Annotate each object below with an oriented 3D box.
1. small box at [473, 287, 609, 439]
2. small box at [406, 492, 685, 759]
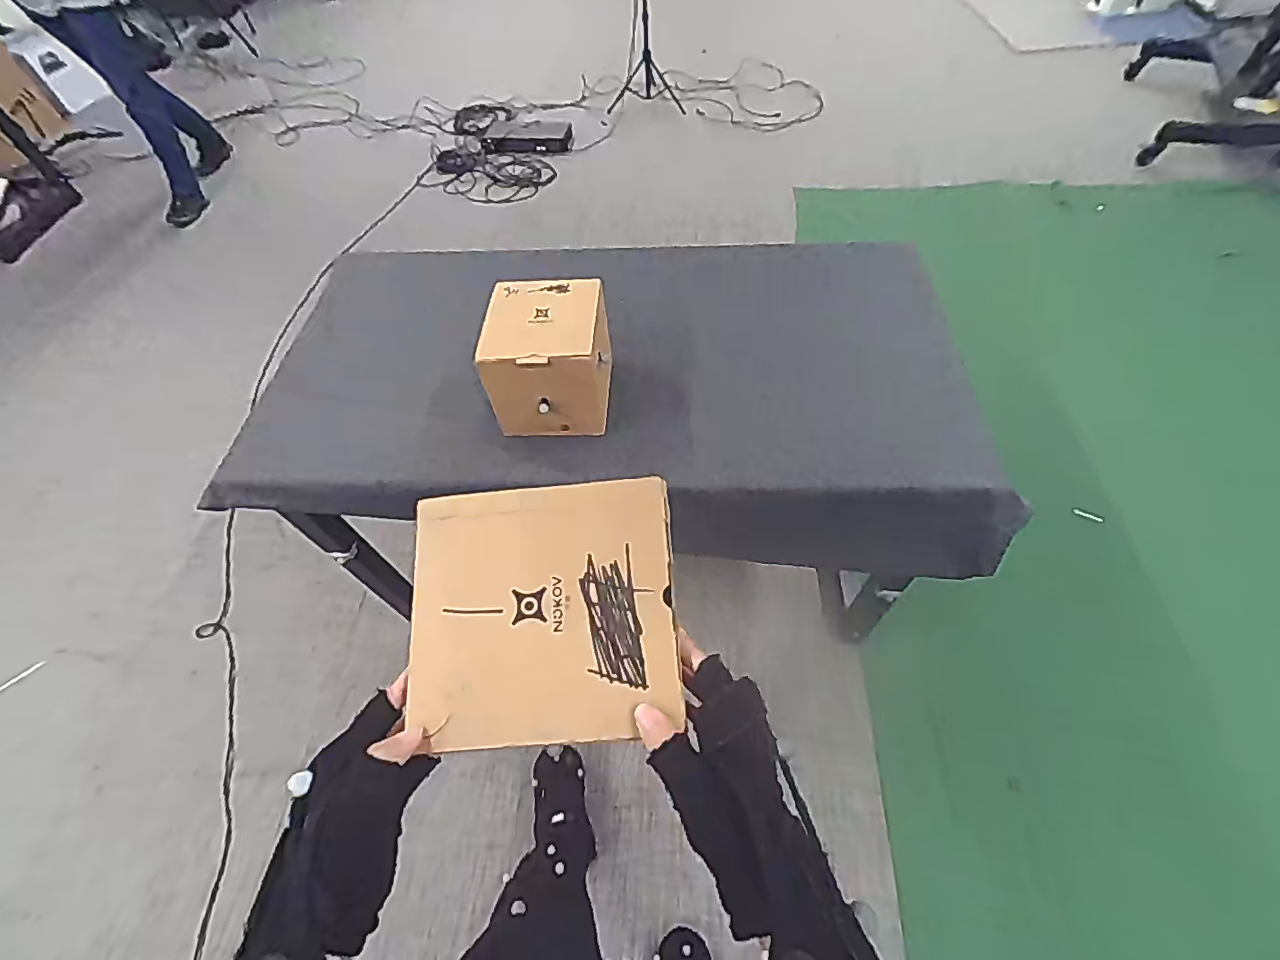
[{"bbox_3d":[-0.142,-0.177,0.850,0.168,0.176,0.179,0,56,4],"label":"small box"},{"bbox_3d":[-0.060,0.115,0.433,0.179,0.176,0.168,-5,71,2],"label":"small box"}]
